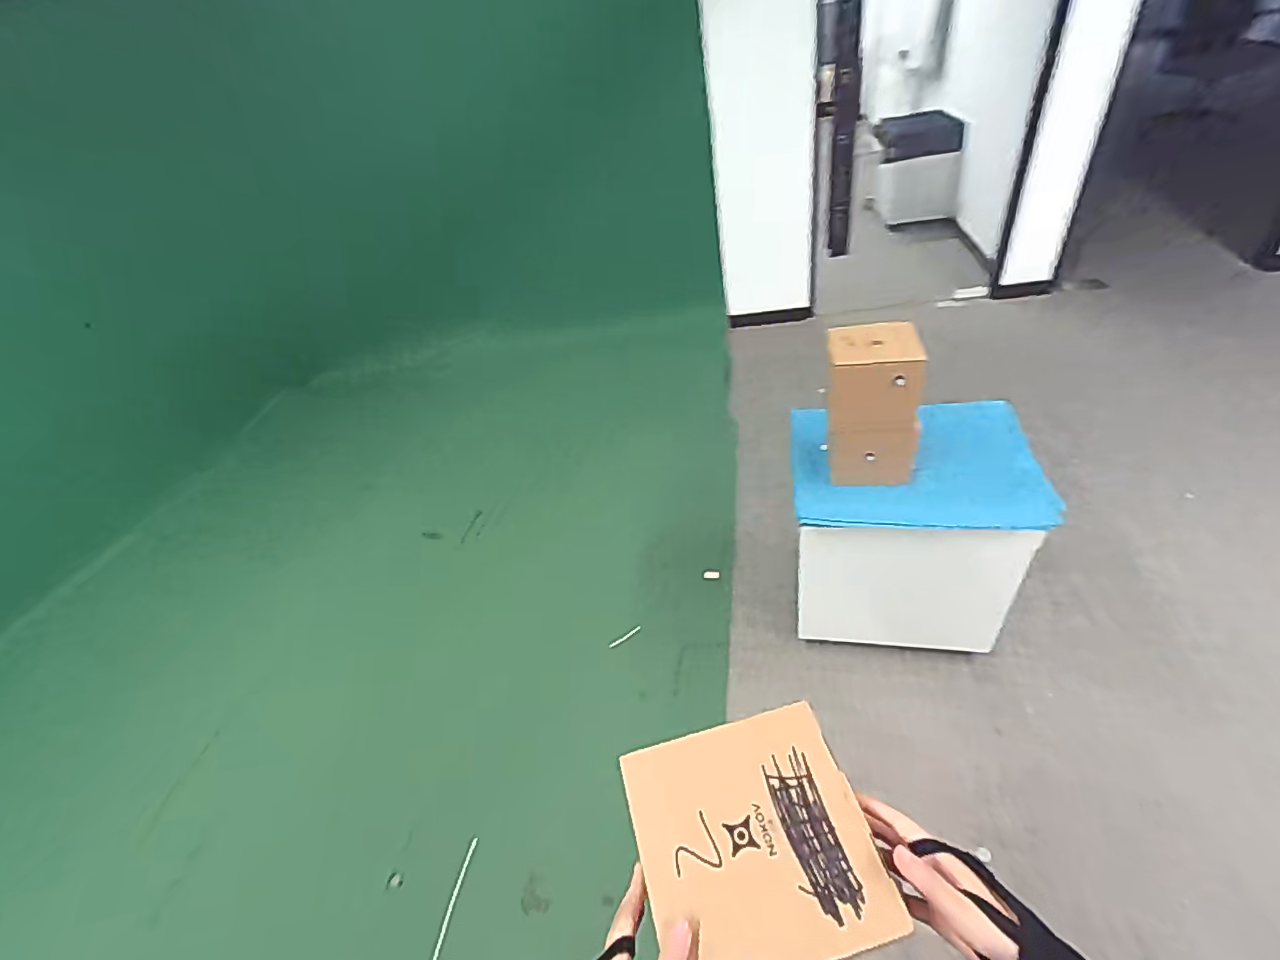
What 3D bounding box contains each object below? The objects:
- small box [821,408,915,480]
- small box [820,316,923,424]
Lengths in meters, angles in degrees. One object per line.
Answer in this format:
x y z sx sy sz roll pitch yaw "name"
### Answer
0.527 -0.114 1.275 0.179 0.176 0.168 -2 42 14 "small box"
0.489 -0.234 1.169 0.179 0.176 0.168 -1 41 14 "small box"
